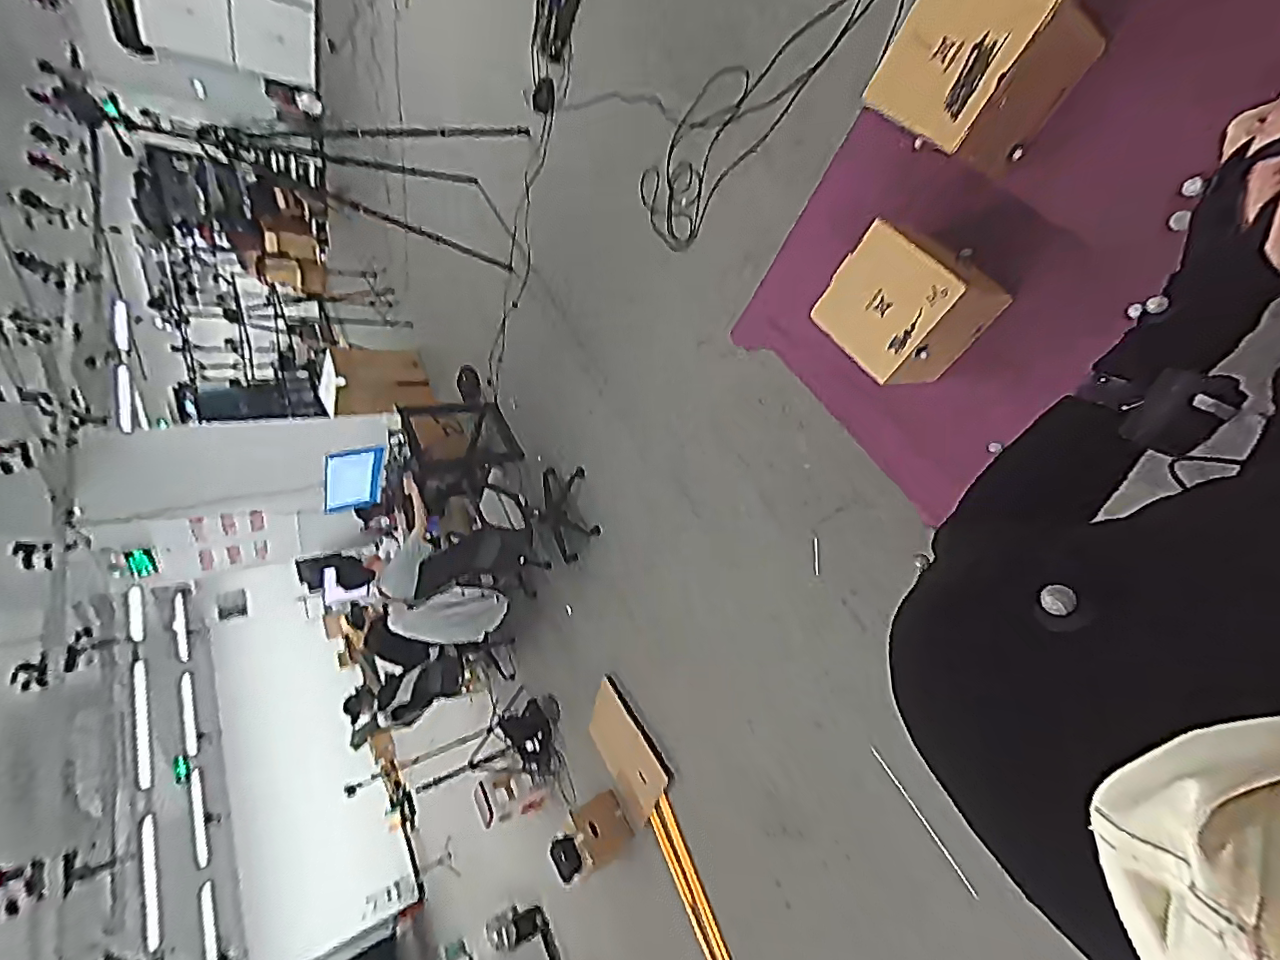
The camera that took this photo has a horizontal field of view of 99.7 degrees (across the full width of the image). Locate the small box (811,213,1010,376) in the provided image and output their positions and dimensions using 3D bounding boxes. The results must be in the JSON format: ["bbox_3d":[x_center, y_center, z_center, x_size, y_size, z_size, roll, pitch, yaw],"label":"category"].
[{"bbox_3d":[0.410,-0.276,0.830,0.179,0.176,0.168,58,139,28],"label":"small box"}]

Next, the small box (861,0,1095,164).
[{"bbox_3d":[0.447,-0.550,0.722,0.179,0.176,0.168,57,137,29],"label":"small box"}]
